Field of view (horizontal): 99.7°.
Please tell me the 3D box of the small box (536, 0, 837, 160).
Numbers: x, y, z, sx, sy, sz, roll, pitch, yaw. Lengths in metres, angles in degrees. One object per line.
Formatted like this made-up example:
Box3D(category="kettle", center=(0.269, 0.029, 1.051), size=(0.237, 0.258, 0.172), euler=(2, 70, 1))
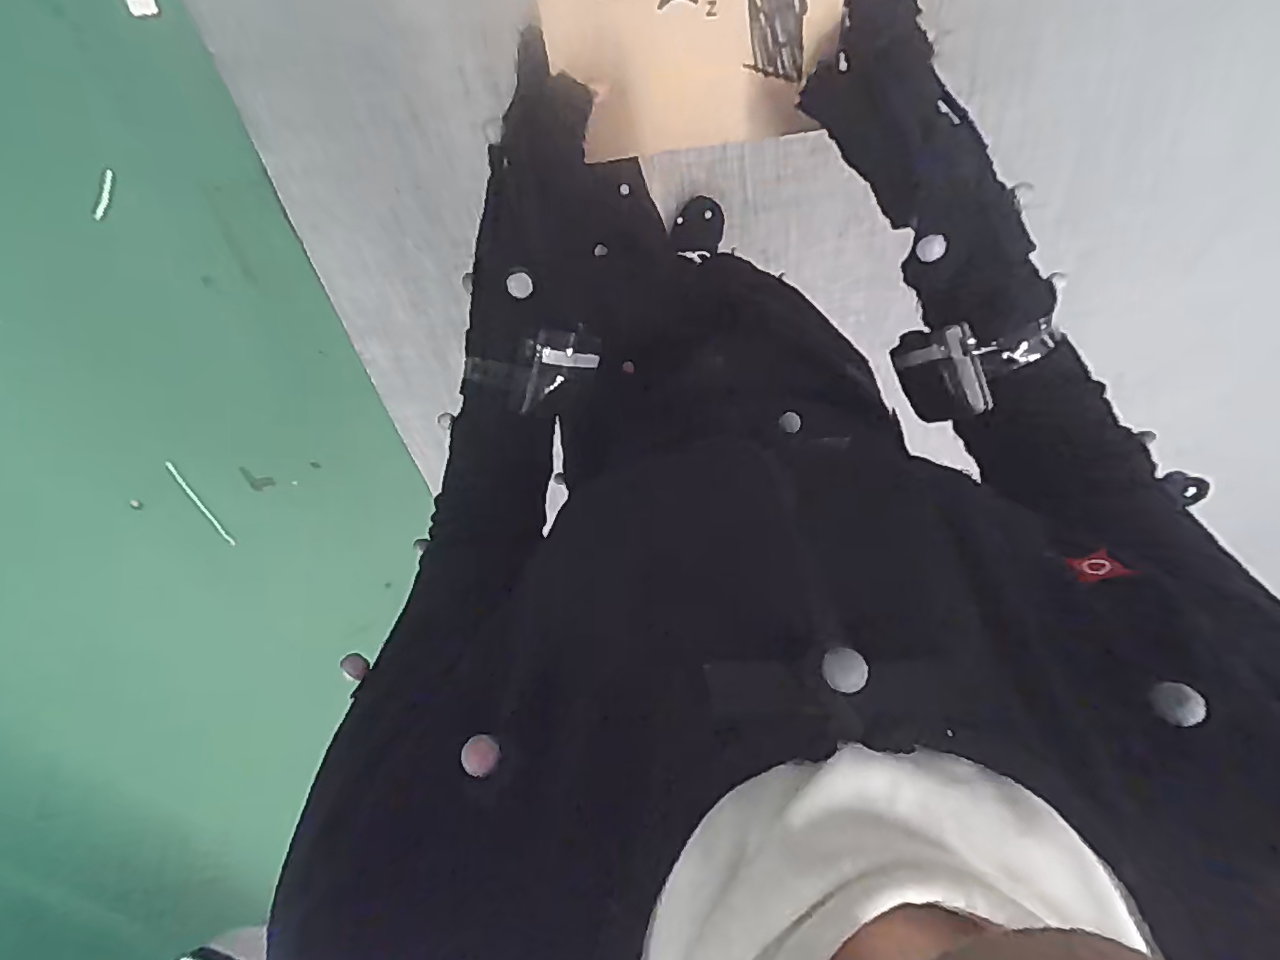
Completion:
Box3D(category="small box", center=(0.025, -0.341, 0.359), size=(0.179, 0.176, 0.168), euler=(-5, 138, 5))
